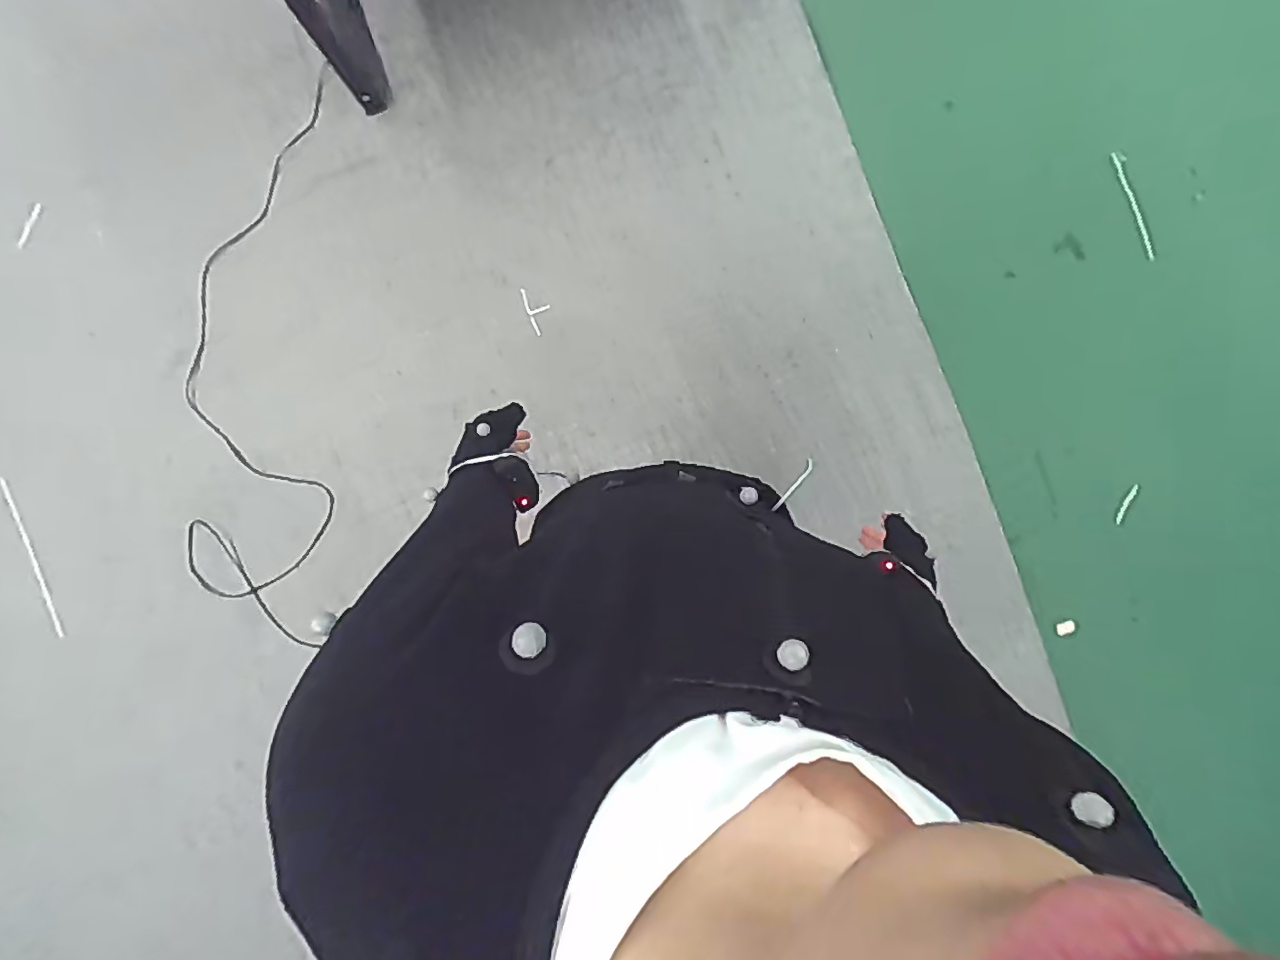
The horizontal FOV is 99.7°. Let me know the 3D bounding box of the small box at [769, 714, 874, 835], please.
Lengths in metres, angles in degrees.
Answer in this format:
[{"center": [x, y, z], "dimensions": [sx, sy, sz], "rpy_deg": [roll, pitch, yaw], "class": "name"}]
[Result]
[{"center": [0.441, 0.720, 1.339], "dimensions": [0.168, 0.176, 0.179], "rpy_deg": [-23, 91, 0], "class": "small box"}]
